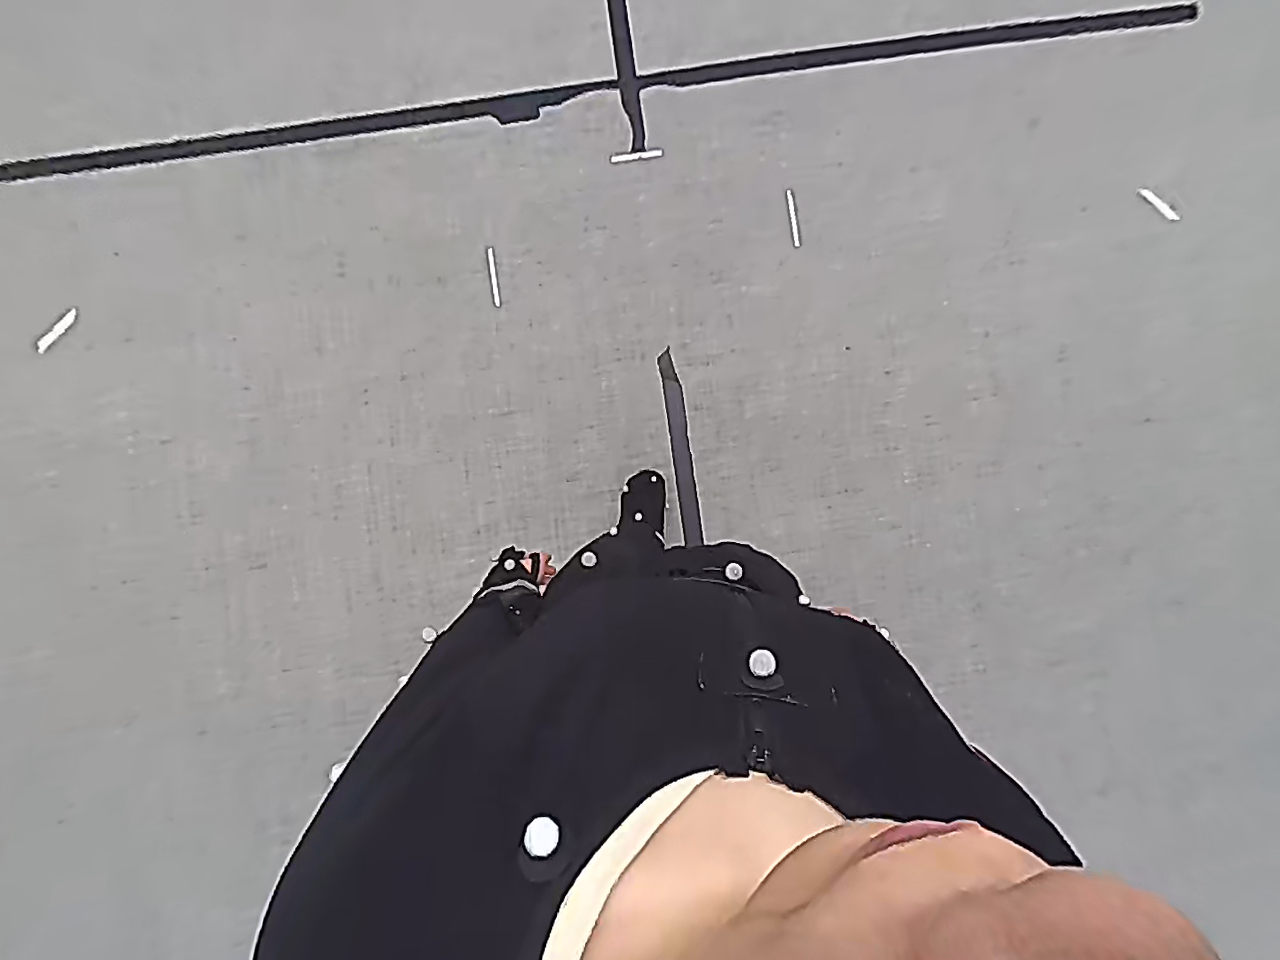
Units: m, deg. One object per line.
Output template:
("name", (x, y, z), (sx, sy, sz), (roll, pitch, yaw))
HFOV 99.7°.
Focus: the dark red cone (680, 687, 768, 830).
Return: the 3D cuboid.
("dark red cone", (0.211, 0.619, 1.178), (0.201, 0.394, 0.202), (-9, 89, -2))
